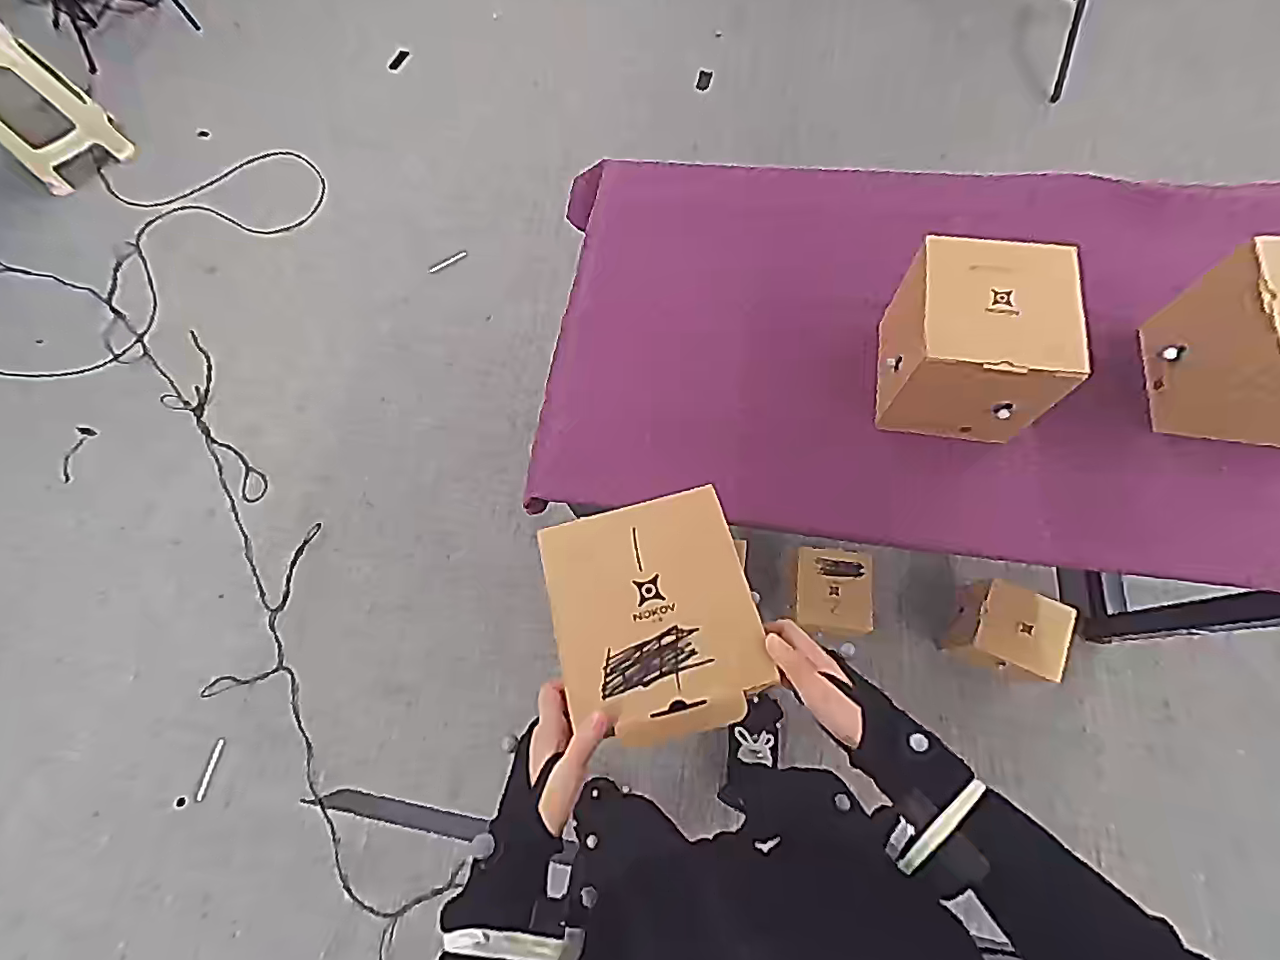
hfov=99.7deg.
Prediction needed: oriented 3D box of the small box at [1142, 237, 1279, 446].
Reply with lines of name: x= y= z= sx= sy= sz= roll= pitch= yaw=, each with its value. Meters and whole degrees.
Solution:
small box: x=0.754 y=-0.152 z=0.633 sx=0.179 sy=0.176 sz=0.168 roll=9 pitch=70 yaw=9

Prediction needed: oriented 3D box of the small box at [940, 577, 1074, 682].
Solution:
small box: x=0.823 y=0.340 z=1.227 sx=0.179 sy=0.176 sz=0.168 roll=23 pitch=74 yaw=14

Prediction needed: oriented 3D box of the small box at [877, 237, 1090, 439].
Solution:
small box: x=0.407 y=-0.167 z=0.673 sx=0.168 sy=0.176 sz=0.179 roll=8 pitch=69 yaw=7

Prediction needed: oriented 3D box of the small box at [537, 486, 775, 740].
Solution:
small box: x=0.013 y=0.133 z=0.517 sx=0.168 sy=0.176 sz=0.179 roll=-15 pitch=64 yaw=-3
